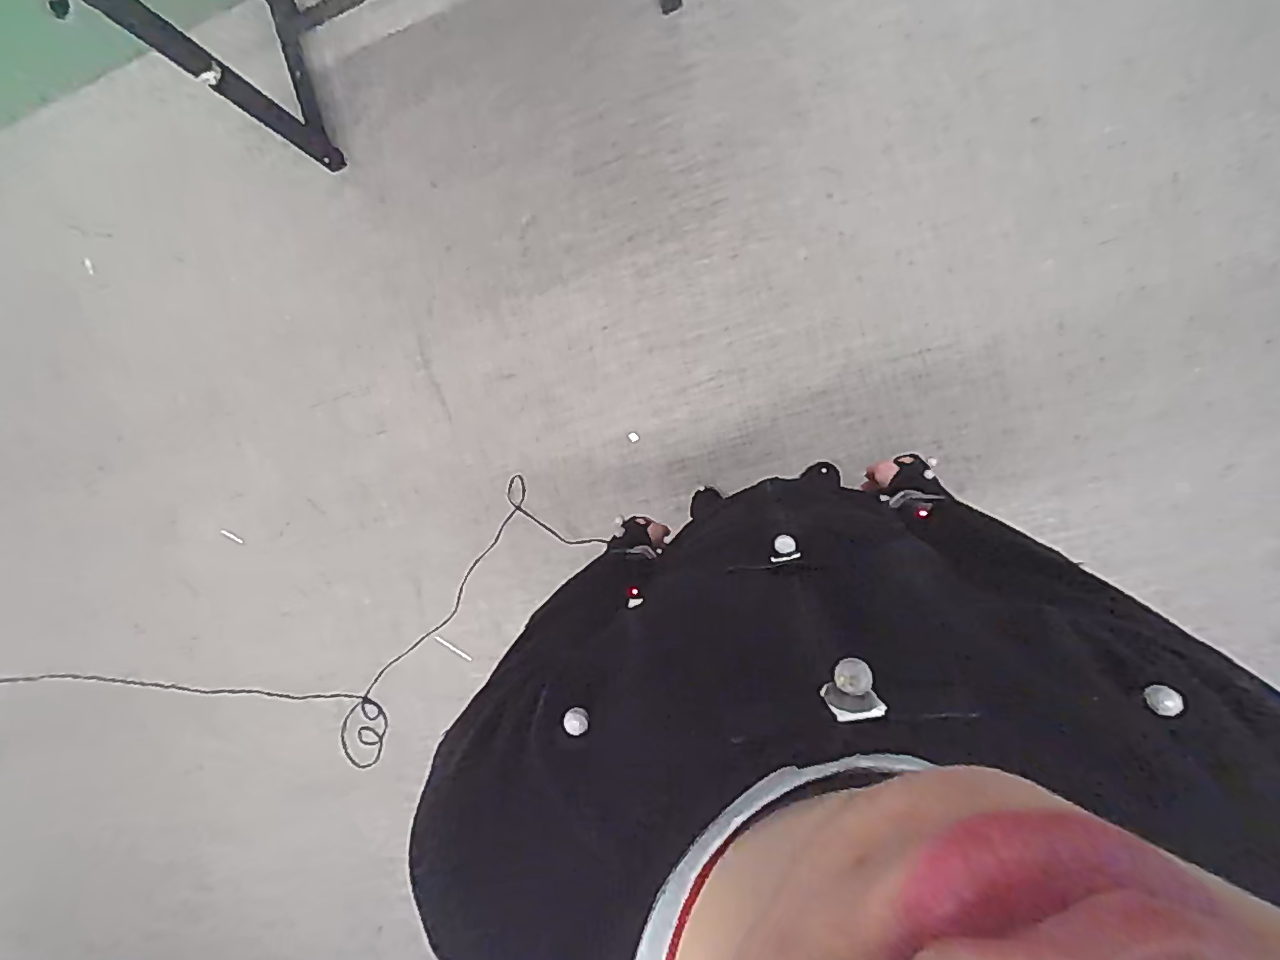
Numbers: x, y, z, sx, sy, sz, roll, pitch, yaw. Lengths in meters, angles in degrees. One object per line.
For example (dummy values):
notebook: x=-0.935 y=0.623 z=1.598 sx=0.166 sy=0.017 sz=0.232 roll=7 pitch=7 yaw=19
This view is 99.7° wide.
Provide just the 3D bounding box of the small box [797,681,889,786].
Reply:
small box: x=0.534 y=0.668 z=1.442 sx=0.168 sy=0.176 sz=0.179 roll=-22 pitch=87 yaw=10
